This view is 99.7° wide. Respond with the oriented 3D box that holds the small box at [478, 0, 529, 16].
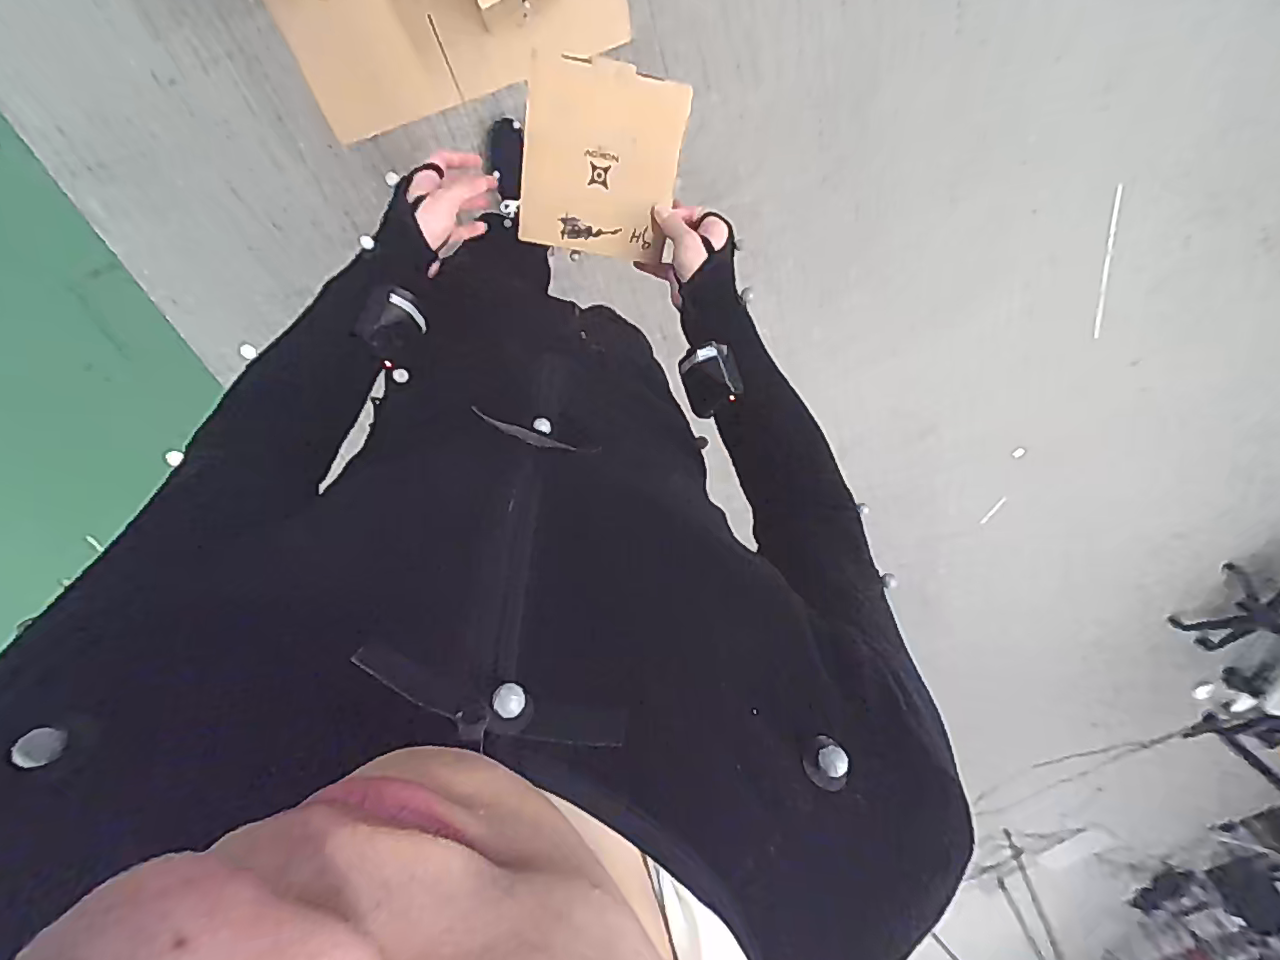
[{"bbox_3d":[-0.223,-0.892,0.874,0.168,0.176,0.179,-25,123,5],"label":"small box"}]
